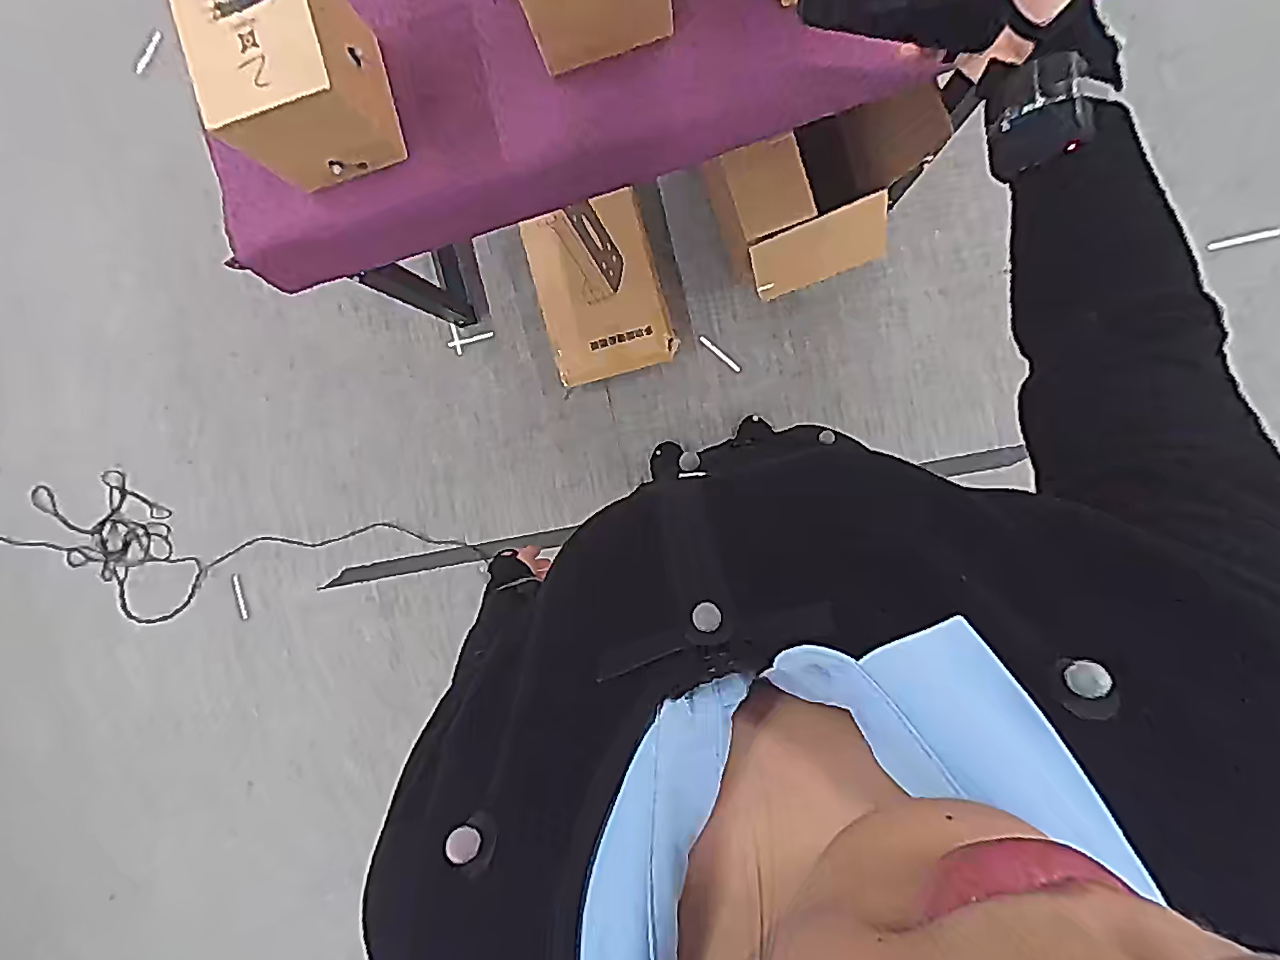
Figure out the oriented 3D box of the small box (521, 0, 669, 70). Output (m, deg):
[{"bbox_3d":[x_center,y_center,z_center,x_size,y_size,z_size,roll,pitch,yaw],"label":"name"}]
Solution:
[{"bbox_3d":[-0.066,-0.641,0.637,0.179,0.176,0.168,-14,91,7],"label":"small box"}]
